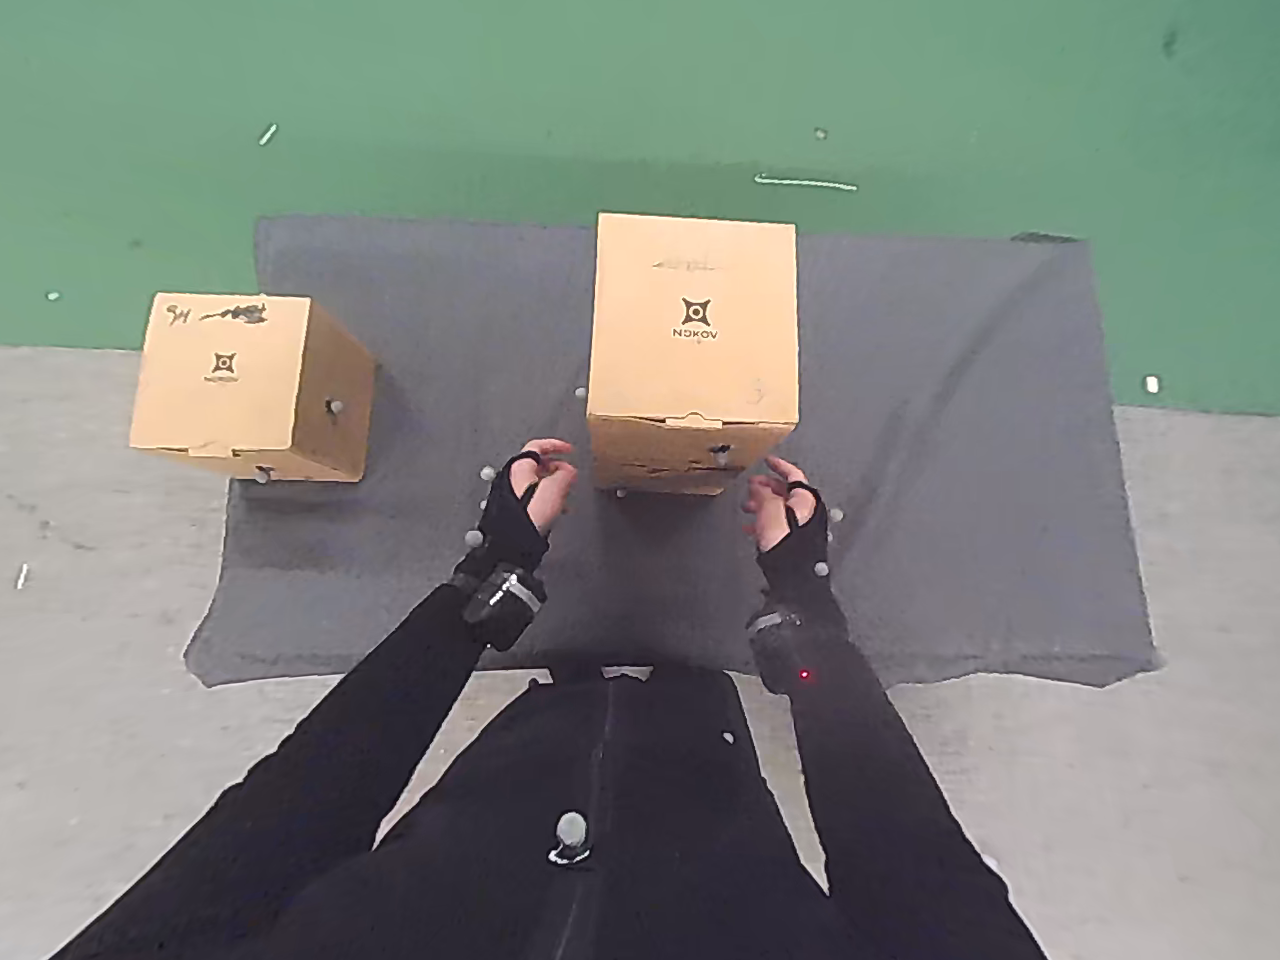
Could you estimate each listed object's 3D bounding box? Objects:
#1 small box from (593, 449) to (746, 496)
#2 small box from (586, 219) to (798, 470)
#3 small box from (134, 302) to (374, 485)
[{"bbox_3d":[0.033,-0.078,0.663,0.168,0.176,0.179,2,79,-2],"label":"small box"},{"bbox_3d":[0.039,-0.109,0.504,0.168,0.176,0.179,2,78,-3],"label":"small box"},{"bbox_3d":[-0.439,-0.091,0.647,0.168,0.176,0.179,1,80,-3],"label":"small box"}]
